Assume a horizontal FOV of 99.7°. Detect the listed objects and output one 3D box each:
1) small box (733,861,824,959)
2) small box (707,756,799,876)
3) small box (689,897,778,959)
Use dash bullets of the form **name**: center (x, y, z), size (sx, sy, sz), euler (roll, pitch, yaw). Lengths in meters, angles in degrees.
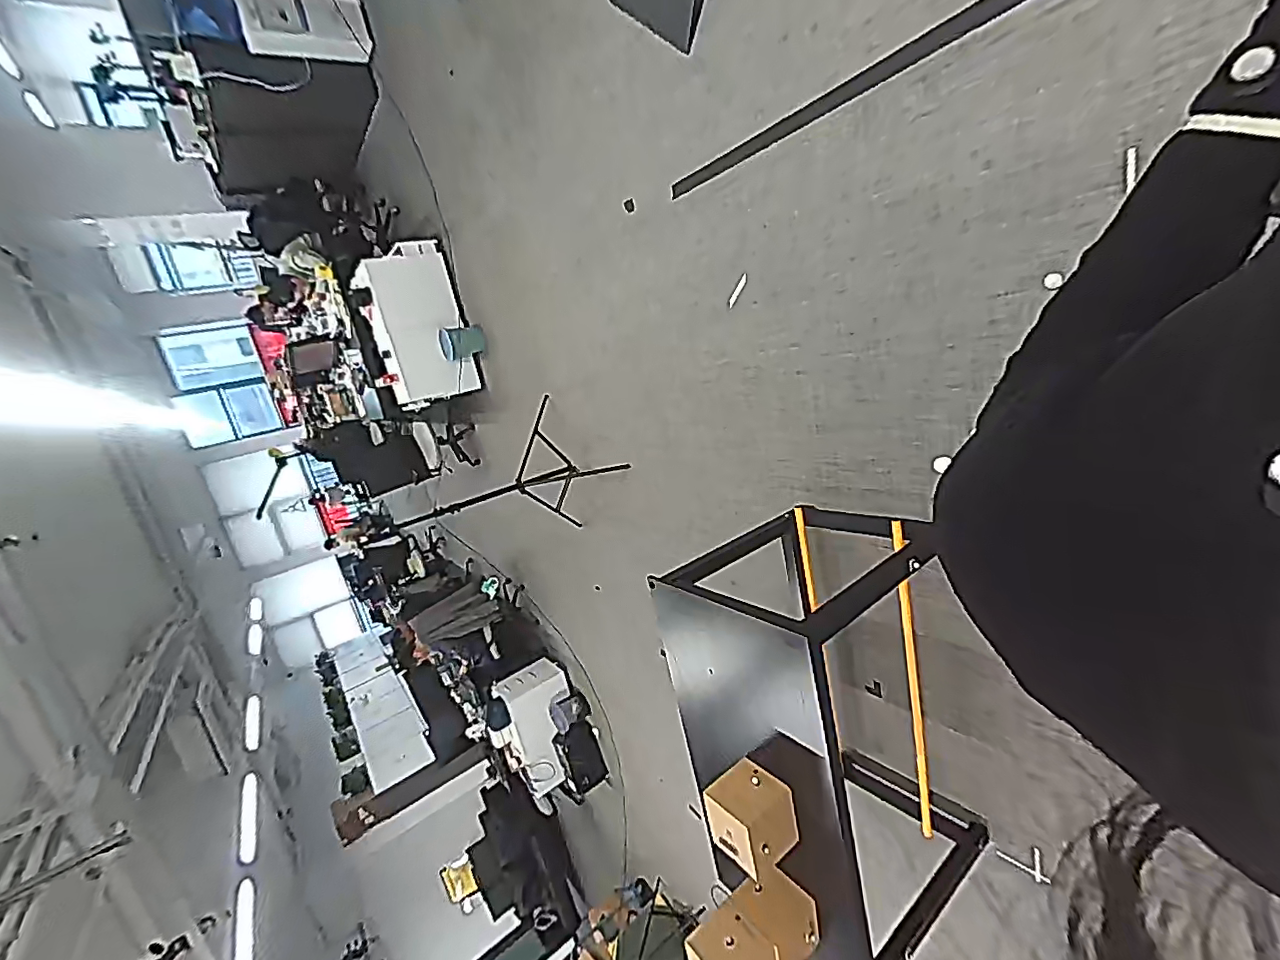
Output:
- **small box**: center (0.393, 1.234, 1.535), size (0.179, 0.176, 0.168), euler (11, 119, 53)
- **small box**: center (0.308, 0.892, 1.452), size (0.168, 0.176, 0.179), euler (9, 115, 55)
- **small box**: center (0.259, 1.291, 1.456), size (0.168, 0.176, 0.179), euler (13, 120, 55)
